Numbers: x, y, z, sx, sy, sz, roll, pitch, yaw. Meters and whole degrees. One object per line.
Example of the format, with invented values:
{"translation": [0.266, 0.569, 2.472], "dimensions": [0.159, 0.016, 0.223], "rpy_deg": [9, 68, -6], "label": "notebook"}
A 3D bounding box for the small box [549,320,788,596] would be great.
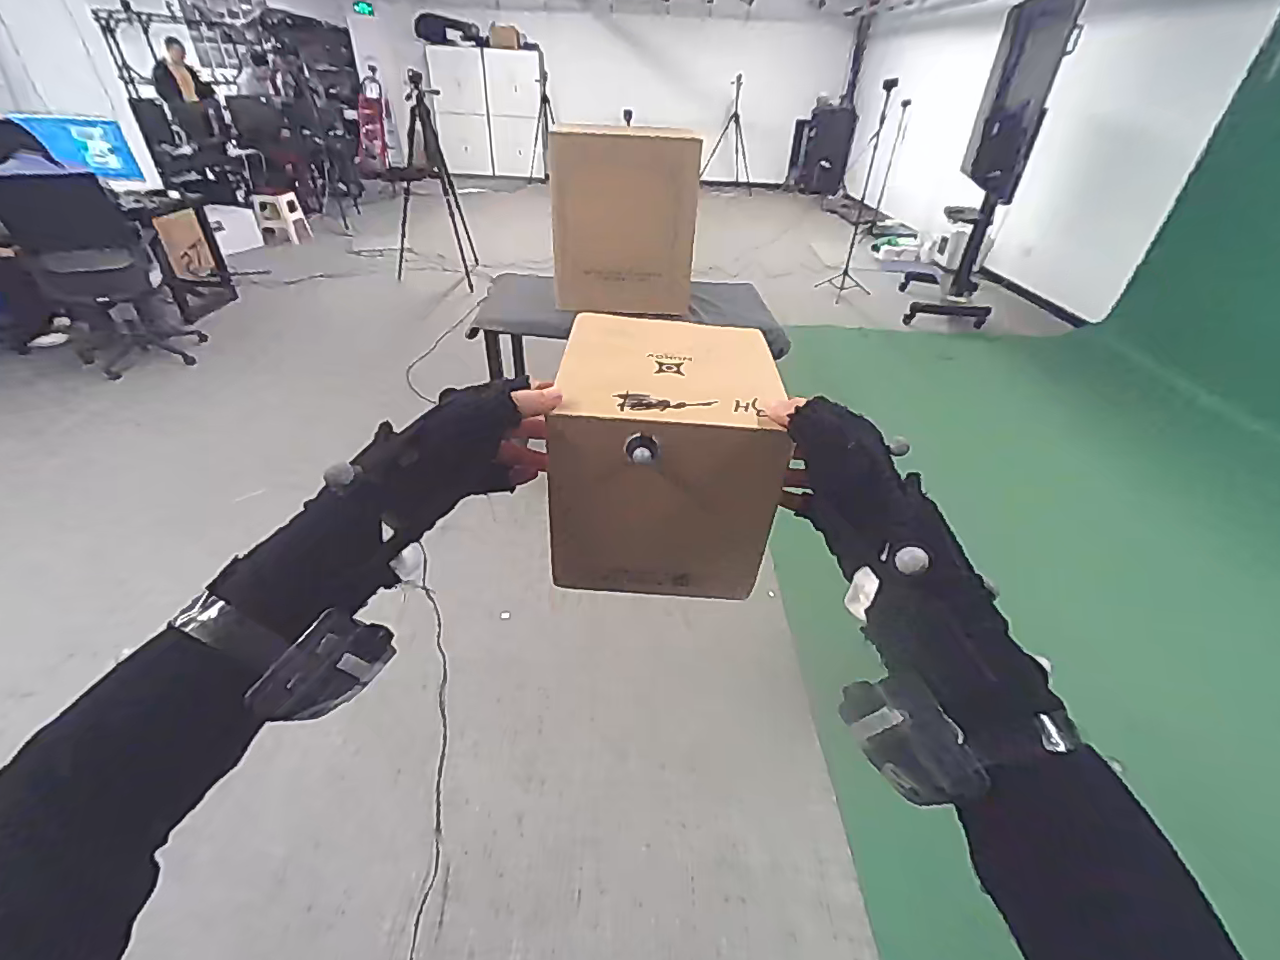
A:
{"translation": [0.017, -0.025, 0.475], "dimensions": [0.168, 0.176, 0.179], "rpy_deg": [4, 36, 0], "label": "small box"}
